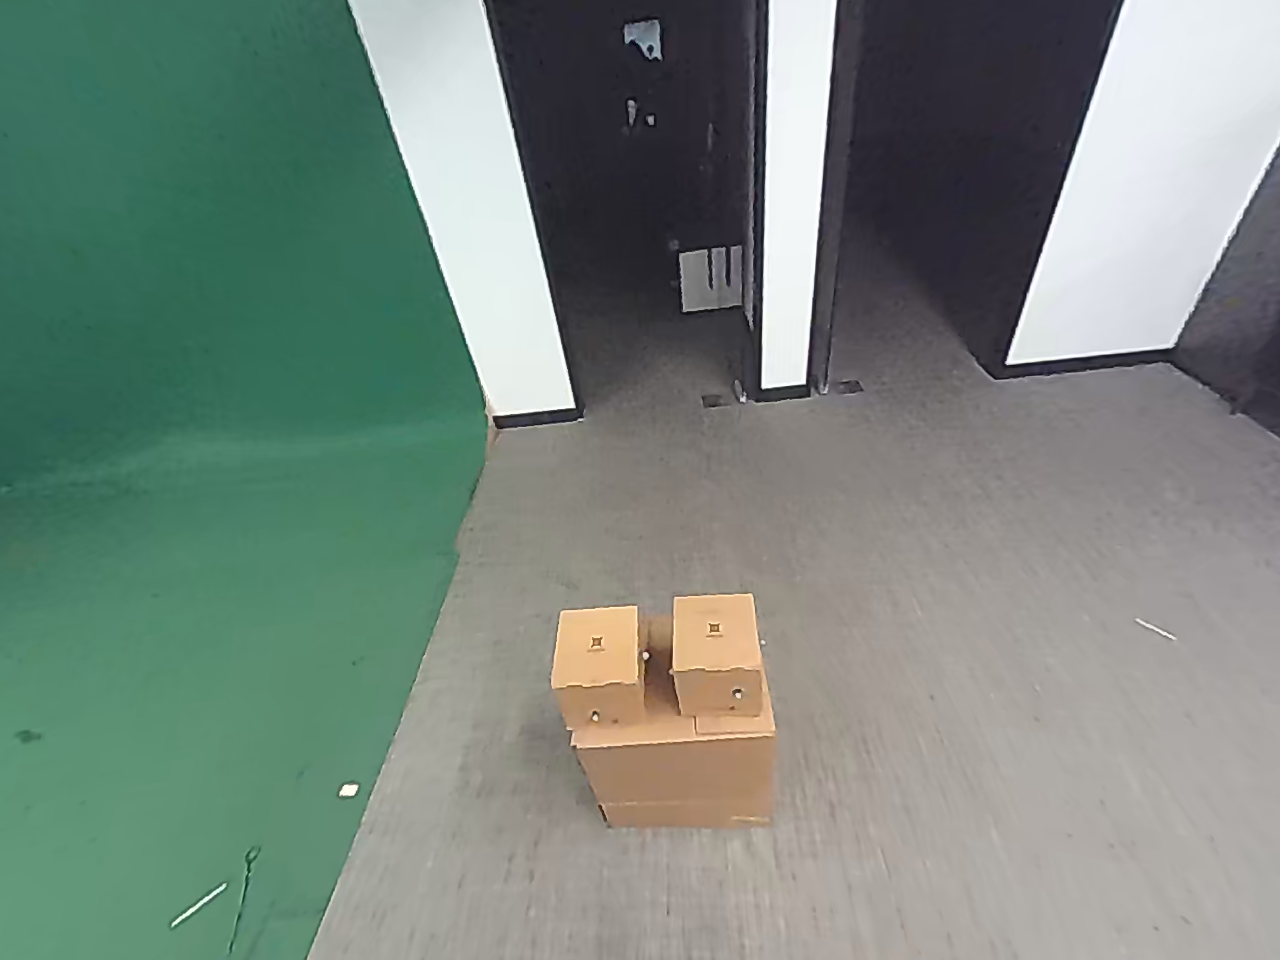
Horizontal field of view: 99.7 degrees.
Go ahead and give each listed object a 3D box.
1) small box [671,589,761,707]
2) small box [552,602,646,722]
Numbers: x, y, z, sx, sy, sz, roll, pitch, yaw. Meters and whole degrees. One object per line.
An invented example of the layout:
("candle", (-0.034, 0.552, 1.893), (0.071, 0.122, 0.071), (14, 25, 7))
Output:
("small box", (0.156, 0.347, 1.107), (0.168, 0.176, 0.179), (-4, 38, 8))
("small box", (-0.078, 0.377, 1.120), (0.168, 0.176, 0.179), (-5, 41, 3))
